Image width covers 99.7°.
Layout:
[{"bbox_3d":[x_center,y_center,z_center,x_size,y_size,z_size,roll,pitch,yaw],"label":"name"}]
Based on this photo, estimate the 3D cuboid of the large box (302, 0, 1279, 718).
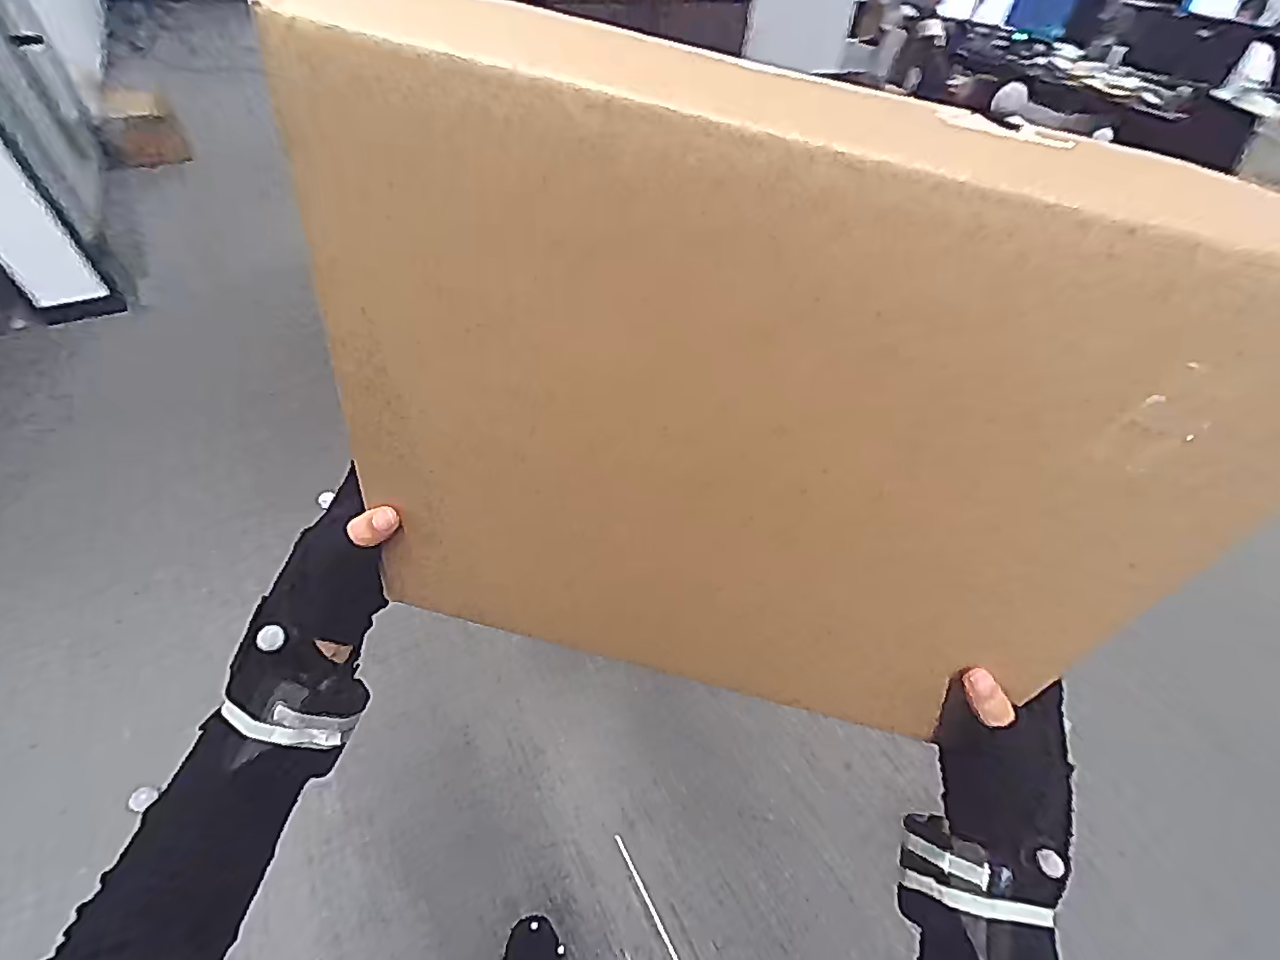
[{"bbox_3d":[0.071,-0.083,0.385,0.408,0.320,0.320,14,41,-1],"label":"large box"}]
